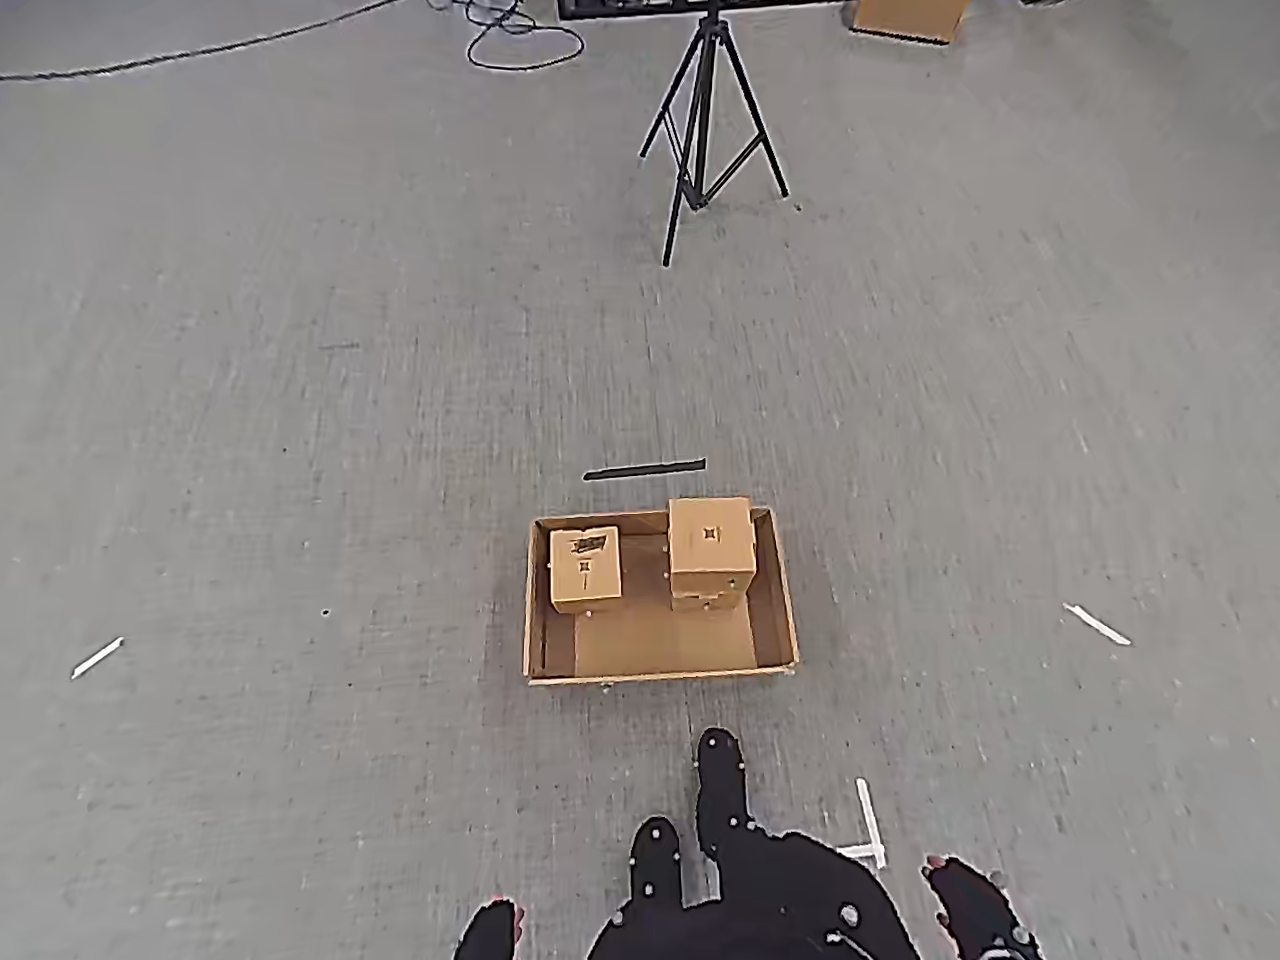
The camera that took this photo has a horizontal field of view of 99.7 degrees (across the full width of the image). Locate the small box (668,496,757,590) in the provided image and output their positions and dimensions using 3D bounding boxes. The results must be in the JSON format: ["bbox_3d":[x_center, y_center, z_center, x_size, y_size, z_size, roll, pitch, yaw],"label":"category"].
[{"bbox_3d":[0.153,0.144,1.201,0.179,0.176,0.168,-2,64,3],"label":"small box"}]

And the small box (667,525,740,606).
[{"bbox_3d":[0.156,0.216,1.350,0.168,0.176,0.179,-3,67,3],"label":"small box"}]
